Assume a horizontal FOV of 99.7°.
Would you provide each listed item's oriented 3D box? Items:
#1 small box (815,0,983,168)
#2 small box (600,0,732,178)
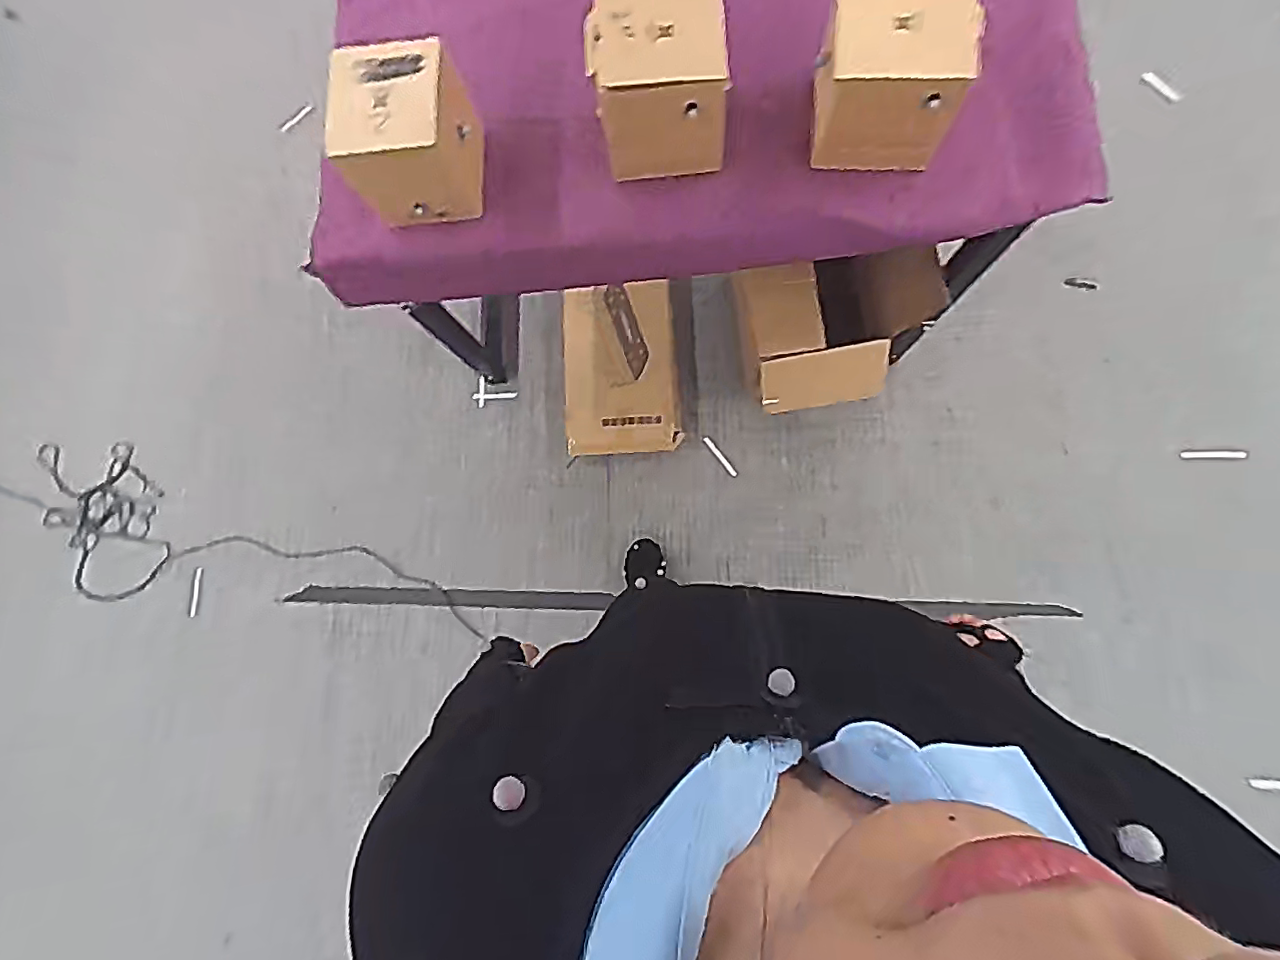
[{"bbox_3d":[0.356,-0.575,0.771,0.179,0.176,0.168,4,82,6],"label":"small box"},{"bbox_3d":[0.039,-0.584,0.804,0.179,0.176,0.168,-3,79,6],"label":"small box"}]
